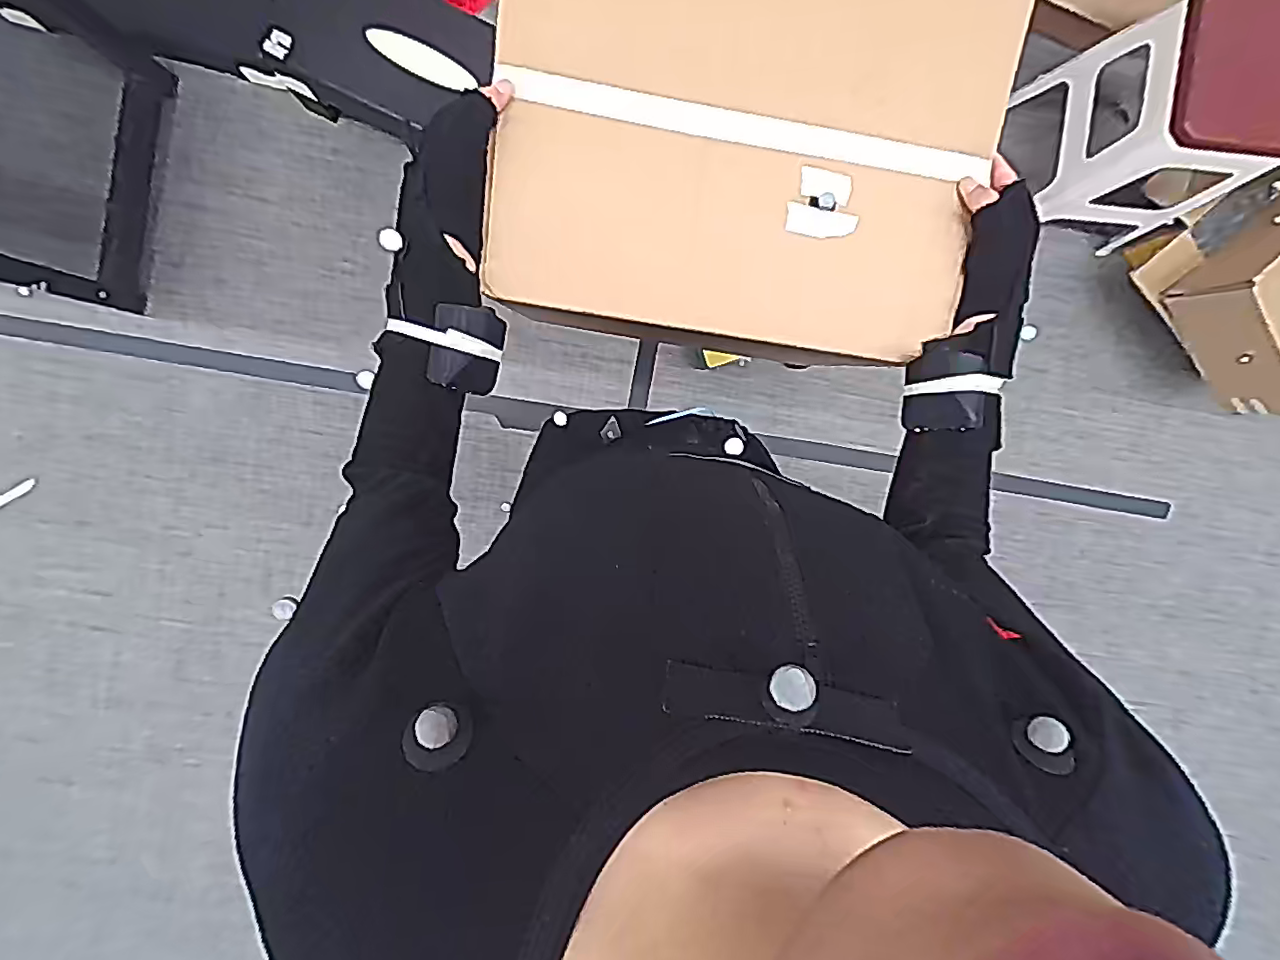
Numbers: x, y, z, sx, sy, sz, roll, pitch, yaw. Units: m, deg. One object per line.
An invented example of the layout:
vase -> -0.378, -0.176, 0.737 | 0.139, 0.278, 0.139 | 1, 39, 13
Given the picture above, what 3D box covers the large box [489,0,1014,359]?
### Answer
large box -> 0.074, -0.314, 0.587 | 0.408, 0.320, 0.320 | 8, 103, -7
